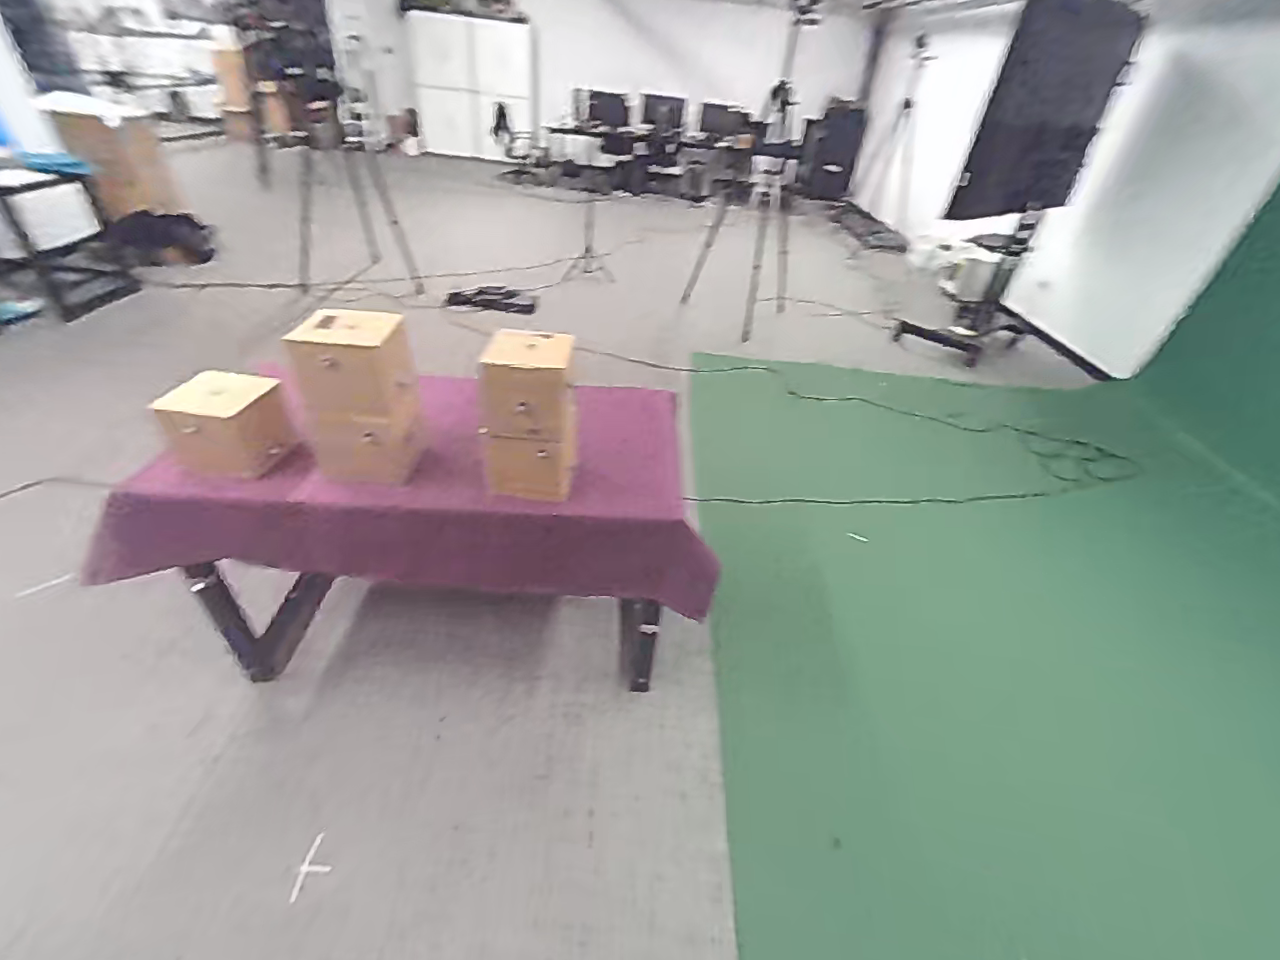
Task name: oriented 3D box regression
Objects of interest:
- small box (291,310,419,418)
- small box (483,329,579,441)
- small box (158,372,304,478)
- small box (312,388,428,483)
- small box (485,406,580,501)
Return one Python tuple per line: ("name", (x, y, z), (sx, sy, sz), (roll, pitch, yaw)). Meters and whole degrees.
("small box", (-0.589, -0.244, 1.145), (0.179, 0.176, 0.168), (4, 37, -4))
("small box", (-0.223, -0.200, 1.145), (0.168, 0.176, 0.179), (6, 38, -2))
("small box", (-0.903, -0.122, 1.214), (0.179, 0.176, 0.168), (8, 38, 2))
("small box", (-0.604, -0.109, 1.239), (0.179, 0.176, 0.168), (6, 36, -2))
("small box", (-0.241, -0.069, 1.243), (0.179, 0.176, 0.168), (8, 37, 1))
